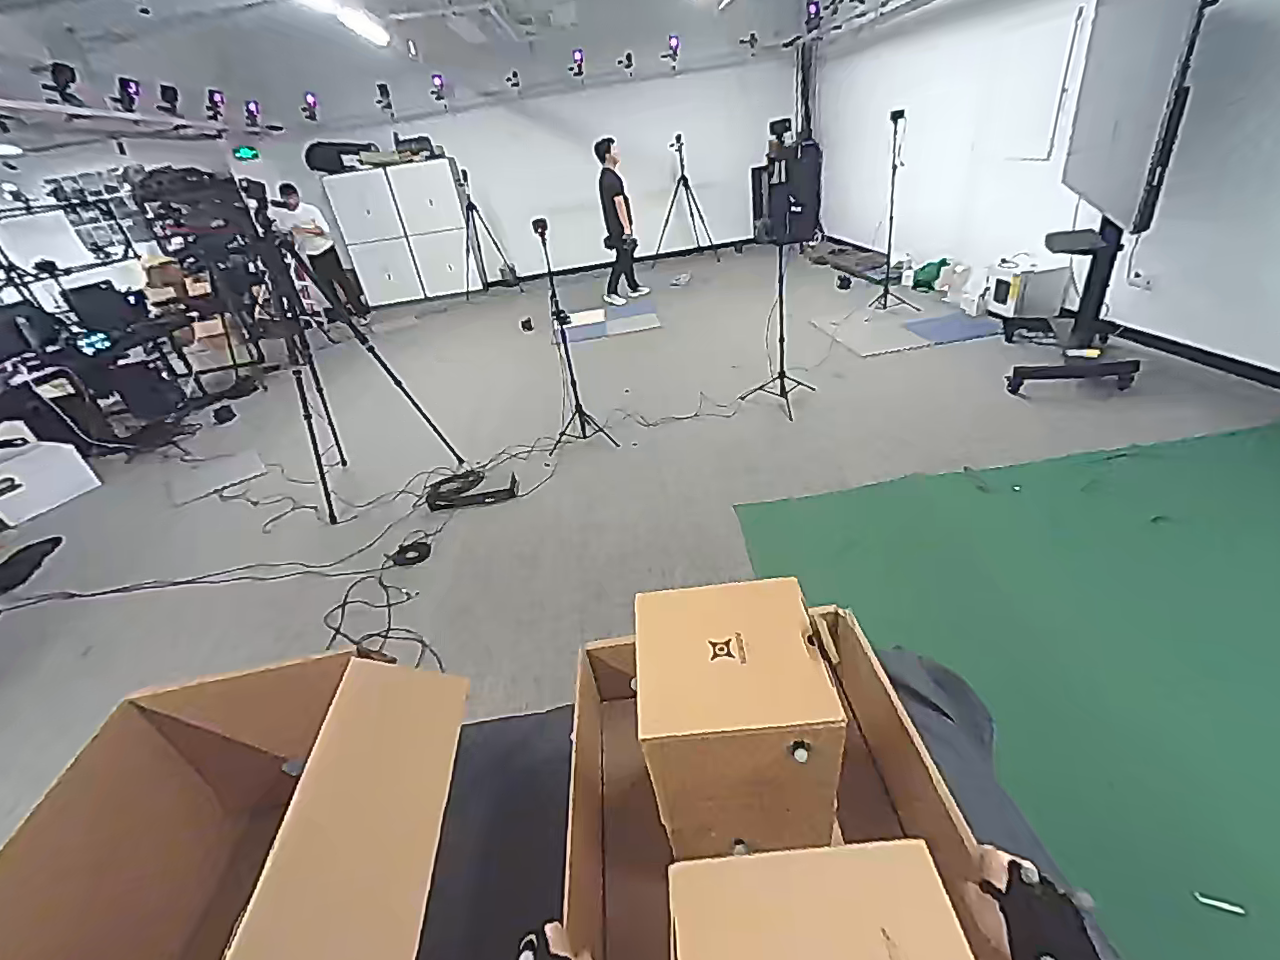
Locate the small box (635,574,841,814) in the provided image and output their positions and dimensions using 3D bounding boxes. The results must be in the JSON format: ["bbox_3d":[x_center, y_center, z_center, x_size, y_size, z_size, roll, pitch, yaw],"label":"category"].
[{"bbox_3d":[0.093,0.223,0.562,0.179,0.176,0.168,-7,36,3],"label":"small box"}]
